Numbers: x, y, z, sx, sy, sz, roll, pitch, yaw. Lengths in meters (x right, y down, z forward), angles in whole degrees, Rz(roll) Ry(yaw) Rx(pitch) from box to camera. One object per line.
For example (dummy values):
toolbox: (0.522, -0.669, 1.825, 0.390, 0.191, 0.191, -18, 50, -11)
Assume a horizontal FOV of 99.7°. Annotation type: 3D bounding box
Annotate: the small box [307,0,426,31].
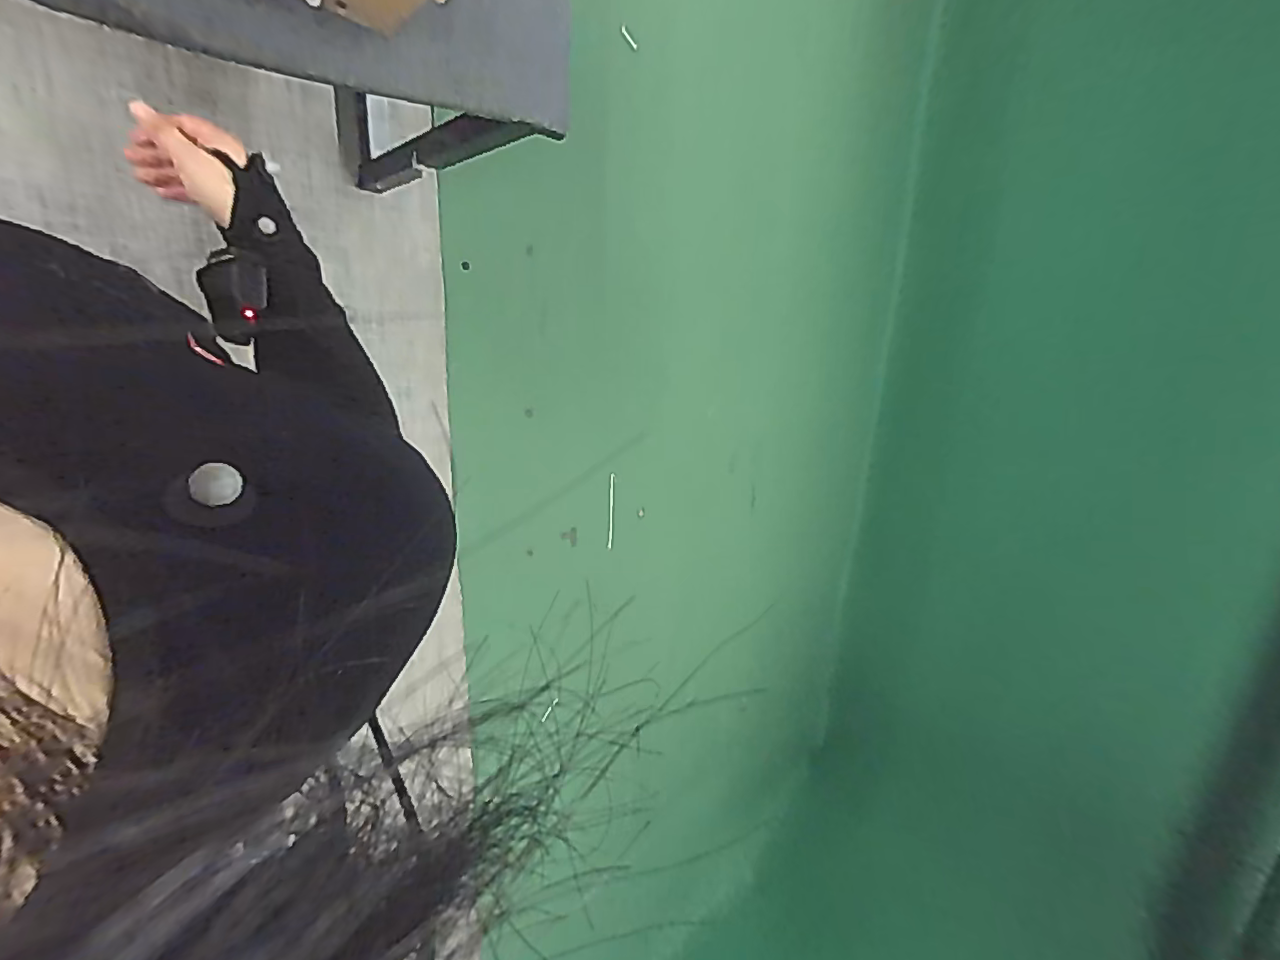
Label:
small box: (-0.302, -0.600, 0.529, 0.168, 0.176, 0.179, -10, 109, -43)
